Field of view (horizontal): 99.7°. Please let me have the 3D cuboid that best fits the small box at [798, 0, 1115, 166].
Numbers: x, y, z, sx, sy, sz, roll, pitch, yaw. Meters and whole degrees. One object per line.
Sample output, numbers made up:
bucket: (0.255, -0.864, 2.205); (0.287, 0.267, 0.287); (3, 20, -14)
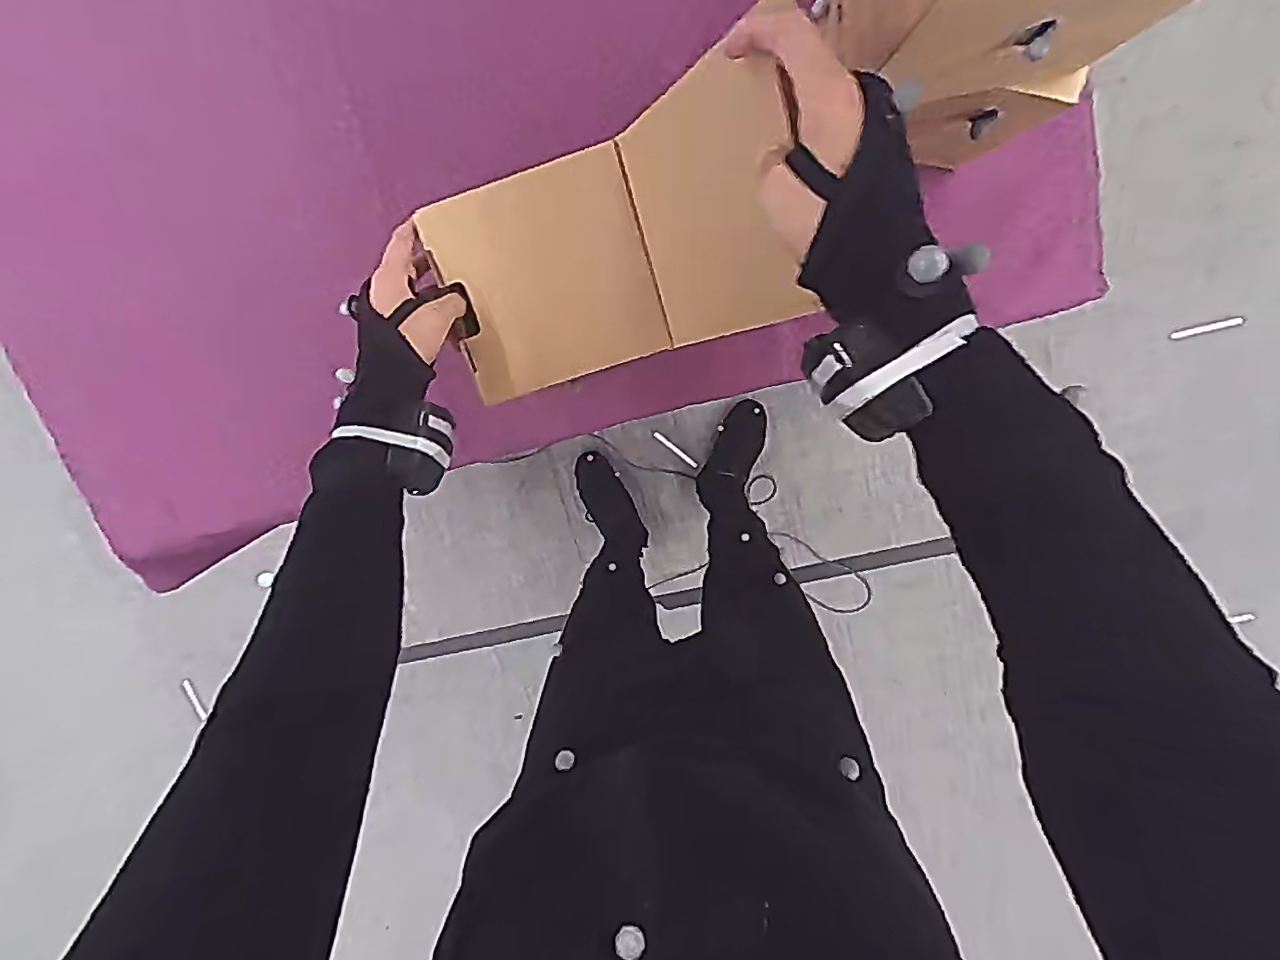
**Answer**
small box: (0.254, -0.385, 0.450); (0.179, 0.176, 0.168); (12, 105, 0)
